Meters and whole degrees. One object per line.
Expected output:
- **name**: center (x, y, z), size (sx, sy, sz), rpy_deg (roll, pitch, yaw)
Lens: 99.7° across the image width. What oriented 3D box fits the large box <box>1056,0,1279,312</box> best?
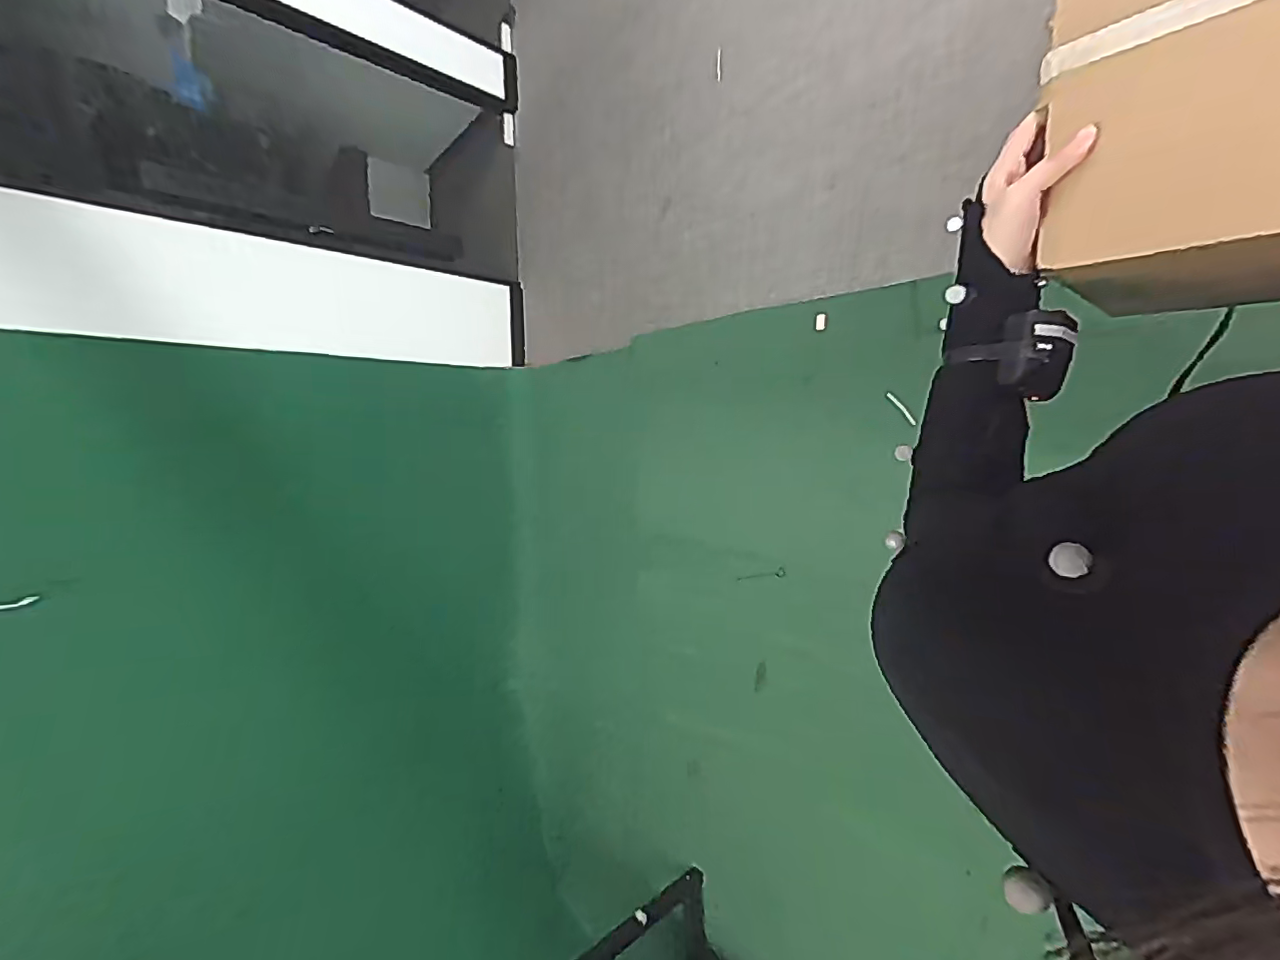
- **large box**: center (0.572, -0.323, 0.372), size (0.408, 0.320, 0.320), rpy_deg (6, 100, 48)
